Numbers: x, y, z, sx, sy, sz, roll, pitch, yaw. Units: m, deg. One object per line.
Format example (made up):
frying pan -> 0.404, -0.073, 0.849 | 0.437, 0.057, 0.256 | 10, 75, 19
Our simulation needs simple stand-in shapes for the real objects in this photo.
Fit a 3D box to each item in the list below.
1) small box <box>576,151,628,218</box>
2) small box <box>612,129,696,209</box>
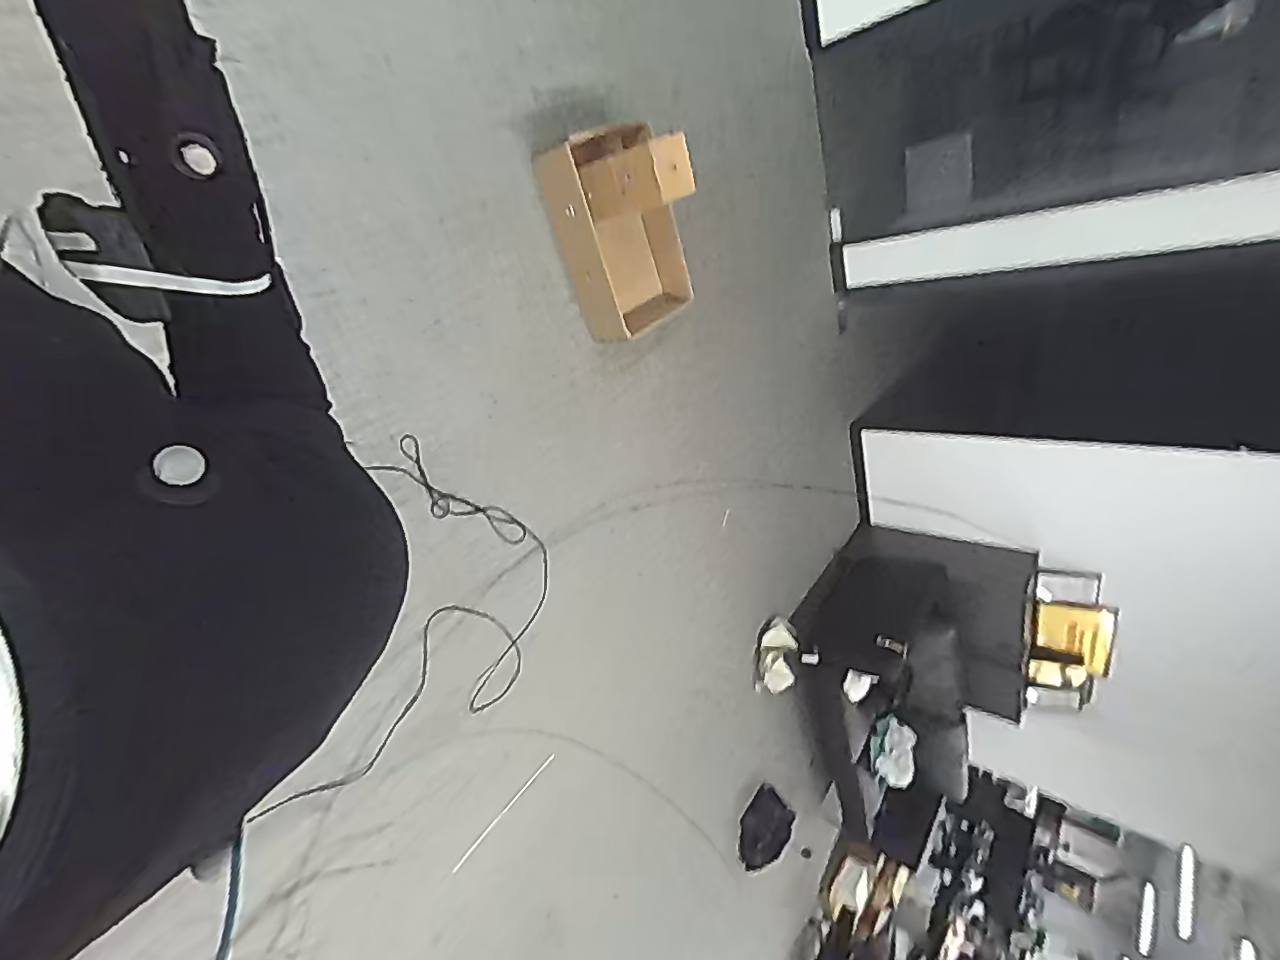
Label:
small box -> -0.078, -0.970, 1.761 | 0.179, 0.176, 0.168 | -40, 125, -36
small box -> 0.044, -0.948, 1.655 | 0.179, 0.176, 0.168 | -41, 127, -35
